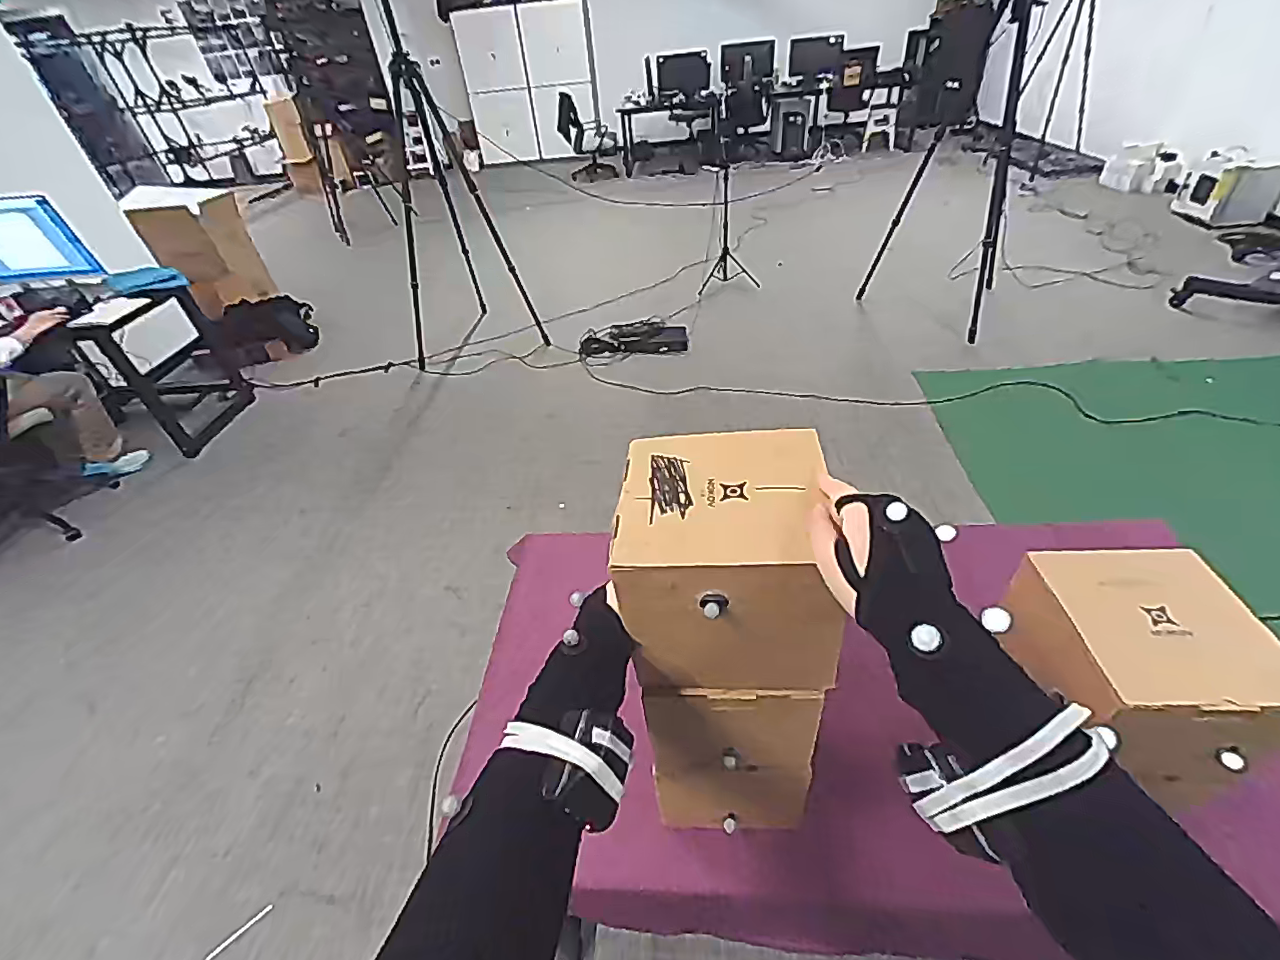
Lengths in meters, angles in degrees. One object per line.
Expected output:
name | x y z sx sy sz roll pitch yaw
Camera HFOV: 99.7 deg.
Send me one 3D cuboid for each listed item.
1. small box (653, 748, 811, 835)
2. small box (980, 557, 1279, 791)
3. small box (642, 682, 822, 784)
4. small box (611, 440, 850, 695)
small box | 0.109 0.341 0.705 0.179 0.176 0.168 -2 39 4
small box | 0.494 0.201 0.563 0.168 0.176 0.179 -1 40 6
small box | 0.095 0.211 0.605 0.168 0.176 0.179 -2 40 7
small box | 0.081 0.081 0.500 0.179 0.176 0.168 -2 39 8
